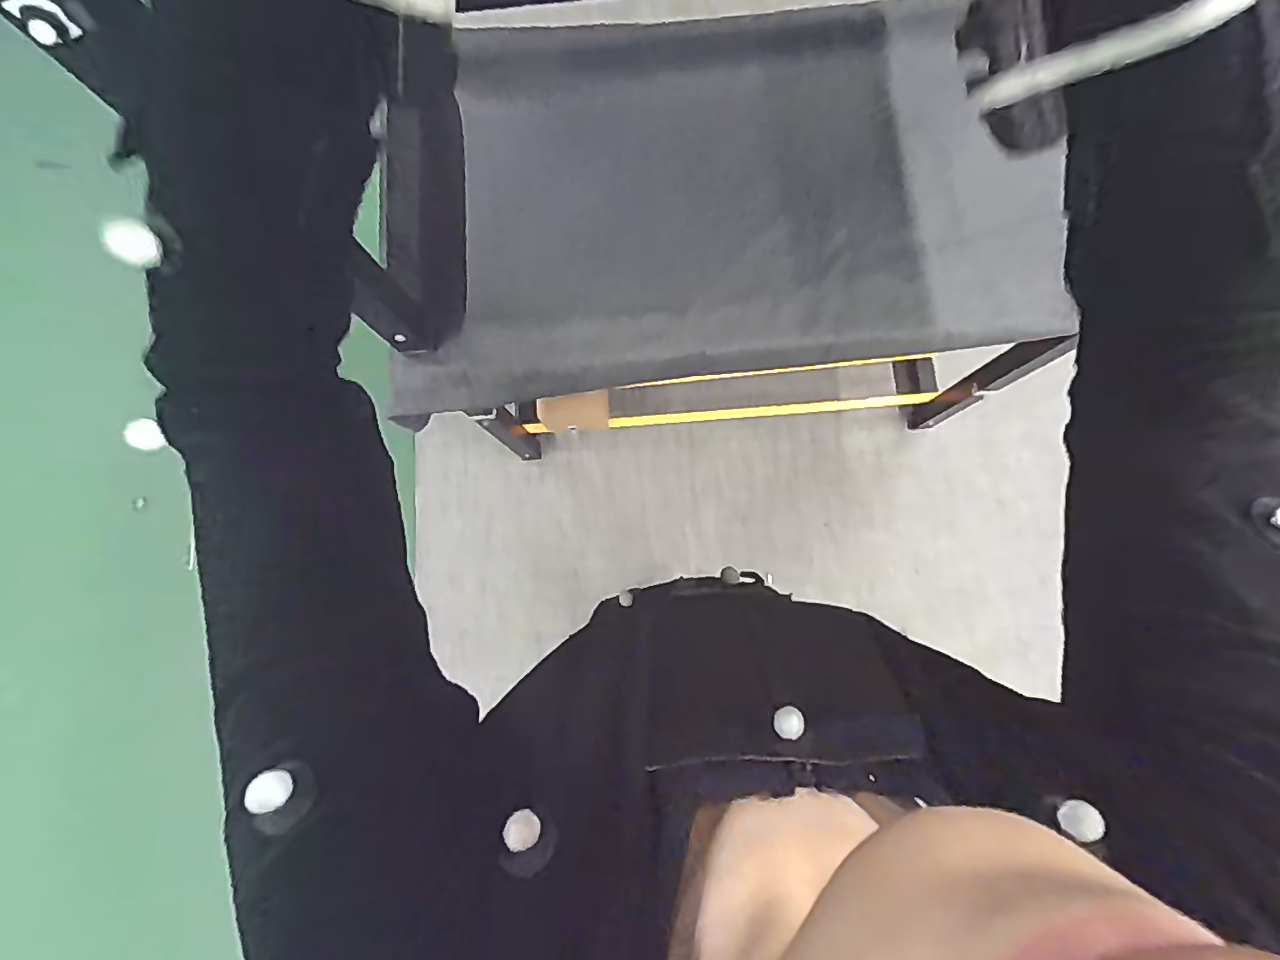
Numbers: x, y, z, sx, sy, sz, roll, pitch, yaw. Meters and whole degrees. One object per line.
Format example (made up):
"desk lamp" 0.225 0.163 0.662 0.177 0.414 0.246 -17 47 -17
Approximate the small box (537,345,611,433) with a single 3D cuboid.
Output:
"small box" -0.168 -0.232 1.406 0.168 0.176 0.179 -5 81 2
